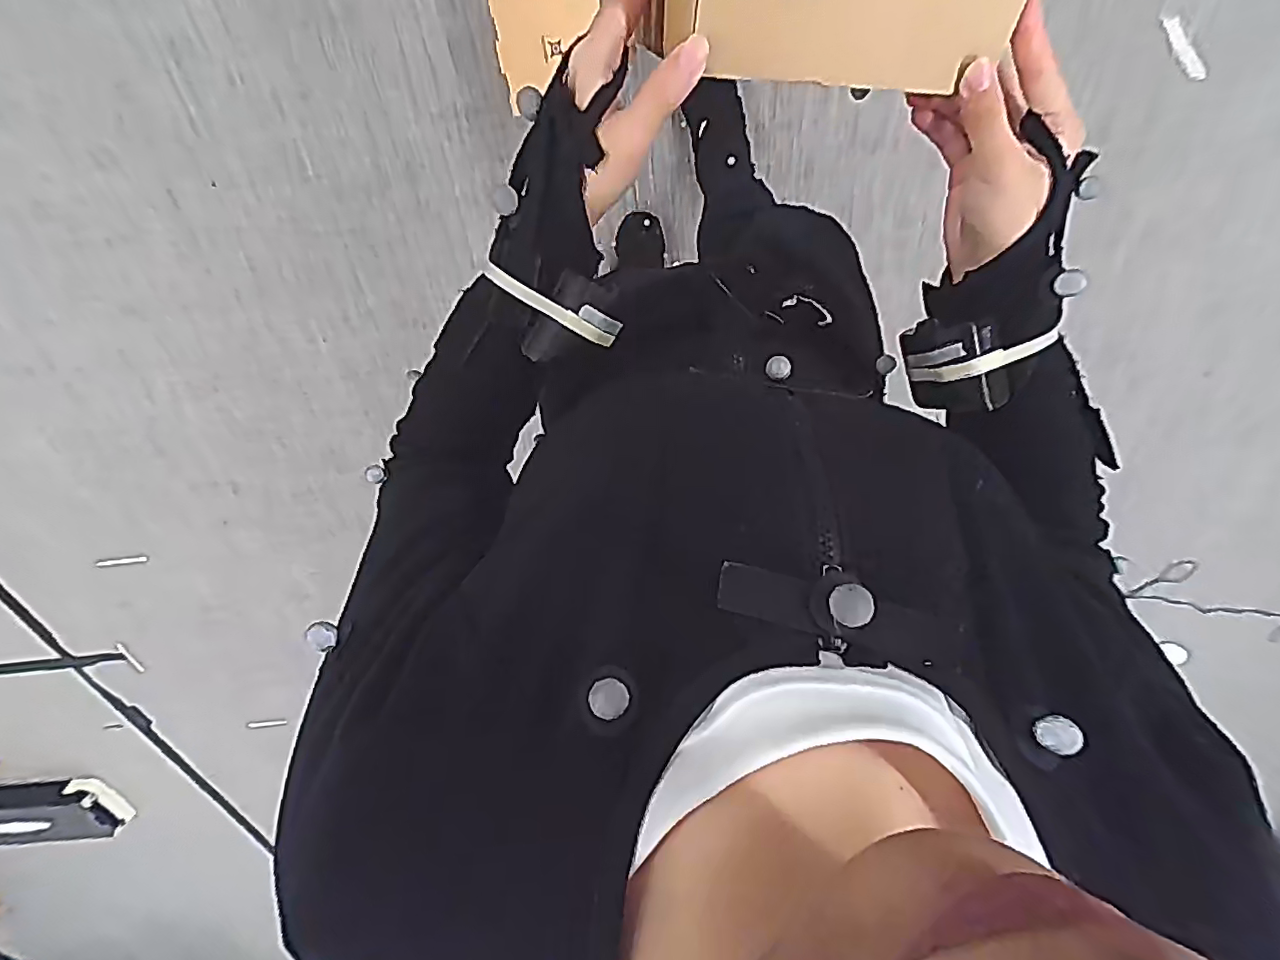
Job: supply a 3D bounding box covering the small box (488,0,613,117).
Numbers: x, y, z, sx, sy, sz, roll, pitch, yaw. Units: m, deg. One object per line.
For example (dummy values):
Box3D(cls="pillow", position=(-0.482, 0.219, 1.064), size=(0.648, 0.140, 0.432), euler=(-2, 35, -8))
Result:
Box3D(cls="small box", position=(-0.147, -0.748, 0.949), size=(0.179, 0.176, 0.168), euler=(-8, 123, 3))
